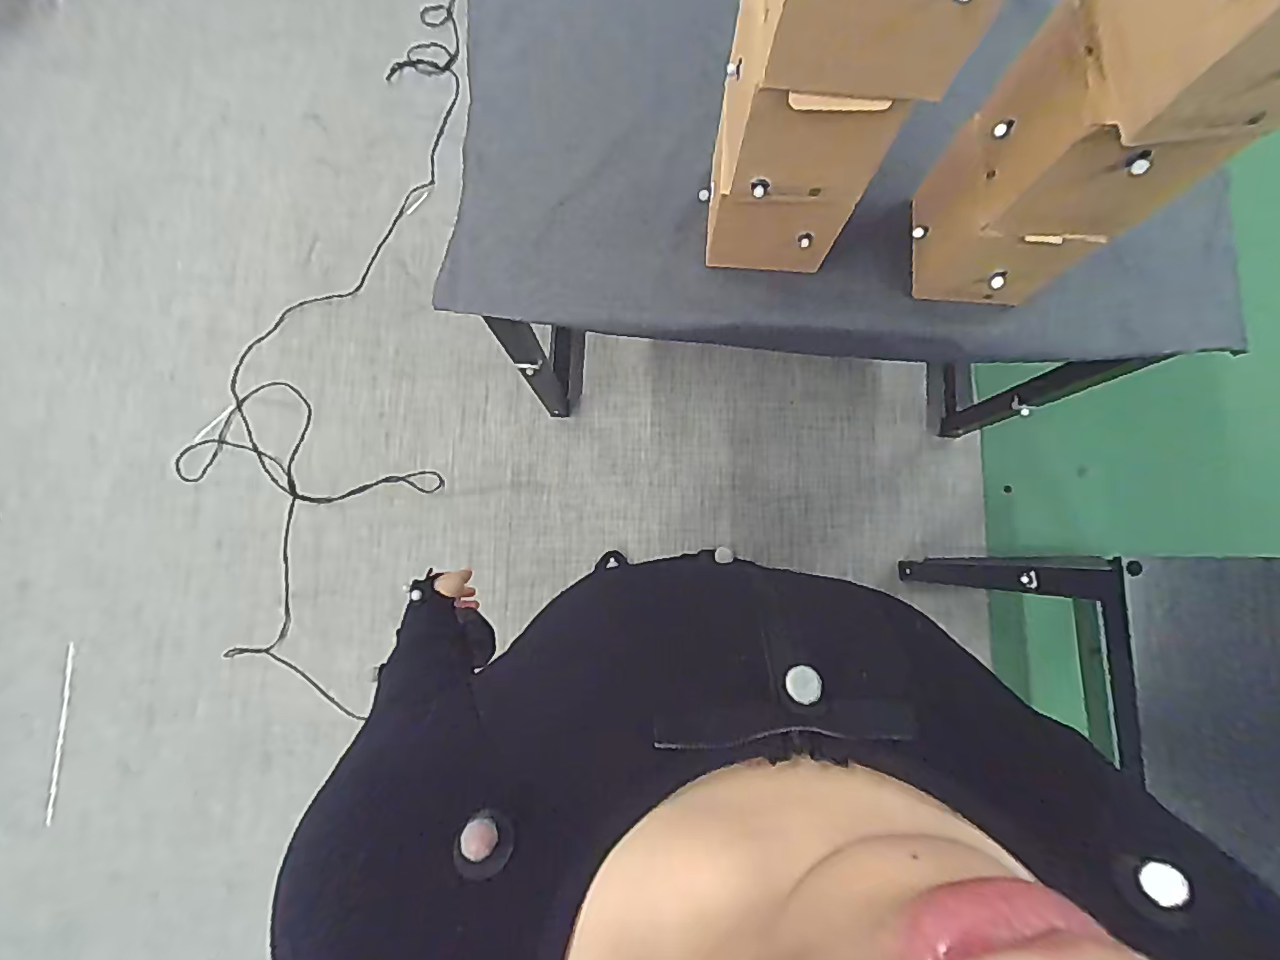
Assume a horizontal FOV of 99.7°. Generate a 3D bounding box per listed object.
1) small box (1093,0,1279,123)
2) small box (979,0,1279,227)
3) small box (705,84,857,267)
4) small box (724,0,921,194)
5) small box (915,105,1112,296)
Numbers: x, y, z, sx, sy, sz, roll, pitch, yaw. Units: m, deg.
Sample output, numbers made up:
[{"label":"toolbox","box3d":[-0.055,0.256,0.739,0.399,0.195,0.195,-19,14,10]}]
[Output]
[{"label":"small box","box3d":[0.513,-0.416,0.426,0.168,0.176,0.179,-6,81,0]},{"label":"small box","box3d":[0.509,-0.400,0.590,0.179,0.176,0.168,2,81,2]},{"label":"small box","box3d":[0.191,-0.421,0.766,0.179,0.176,0.168,3,81,3]},{"label":"small box","box3d":[0.188,-0.448,0.605,0.168,0.176,0.179,0,80,1]},{"label":"small box","box3d":[0.503,-0.375,0.752,0.168,0.176,0.179,4,82,2]}]
